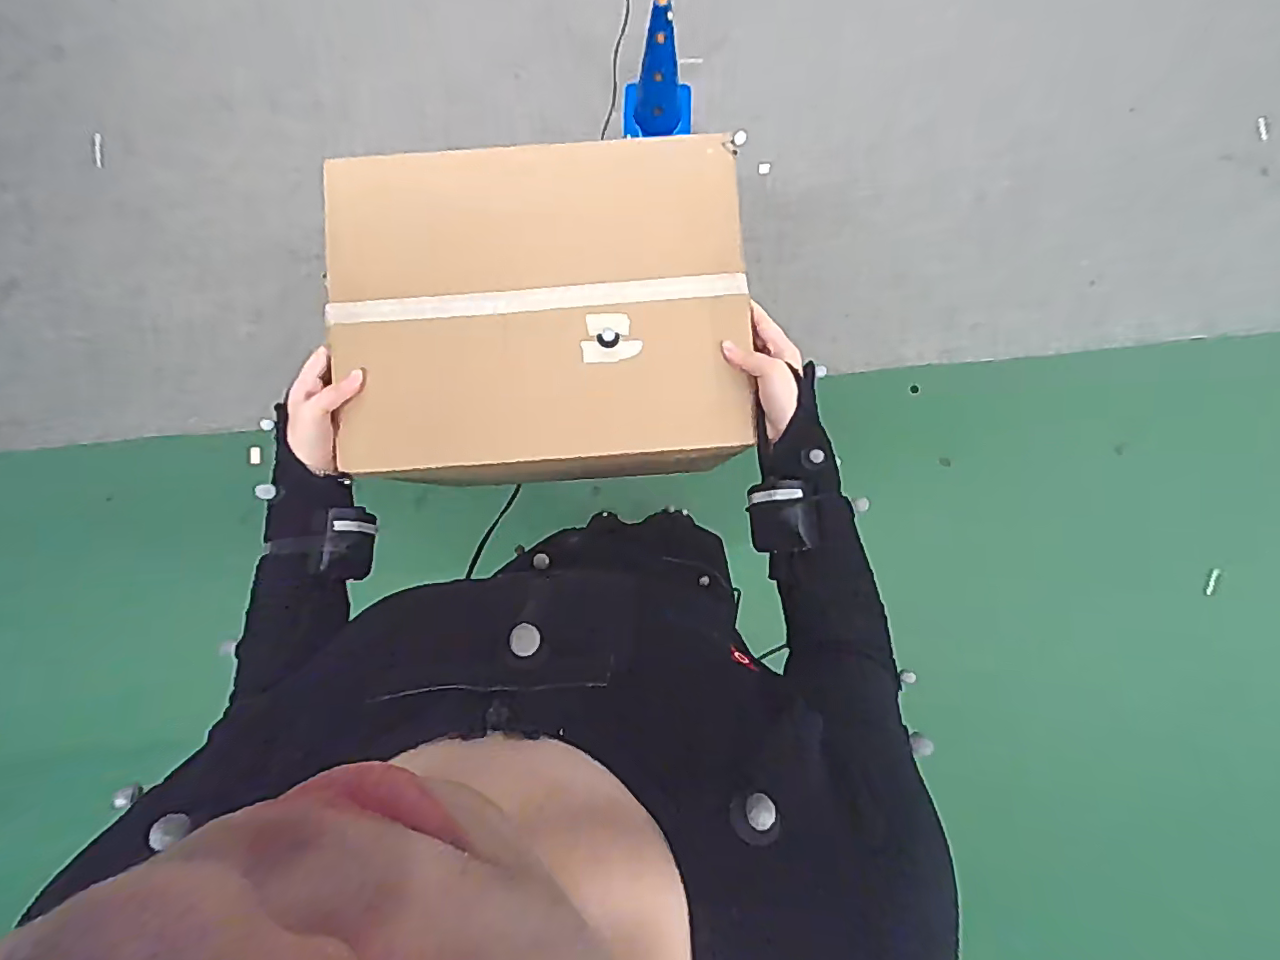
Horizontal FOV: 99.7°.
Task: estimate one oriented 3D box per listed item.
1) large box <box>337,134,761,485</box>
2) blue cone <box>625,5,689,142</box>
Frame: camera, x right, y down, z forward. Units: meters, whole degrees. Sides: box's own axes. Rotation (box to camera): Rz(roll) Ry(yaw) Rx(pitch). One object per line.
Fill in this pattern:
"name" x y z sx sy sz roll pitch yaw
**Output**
"large box" -0.096 -0.171 0.680 0.408 0.320 0.320 -5 87 -2
"blue cone" 0.051 -1.089 1.444 0.193 0.380 0.192 3 86 0
